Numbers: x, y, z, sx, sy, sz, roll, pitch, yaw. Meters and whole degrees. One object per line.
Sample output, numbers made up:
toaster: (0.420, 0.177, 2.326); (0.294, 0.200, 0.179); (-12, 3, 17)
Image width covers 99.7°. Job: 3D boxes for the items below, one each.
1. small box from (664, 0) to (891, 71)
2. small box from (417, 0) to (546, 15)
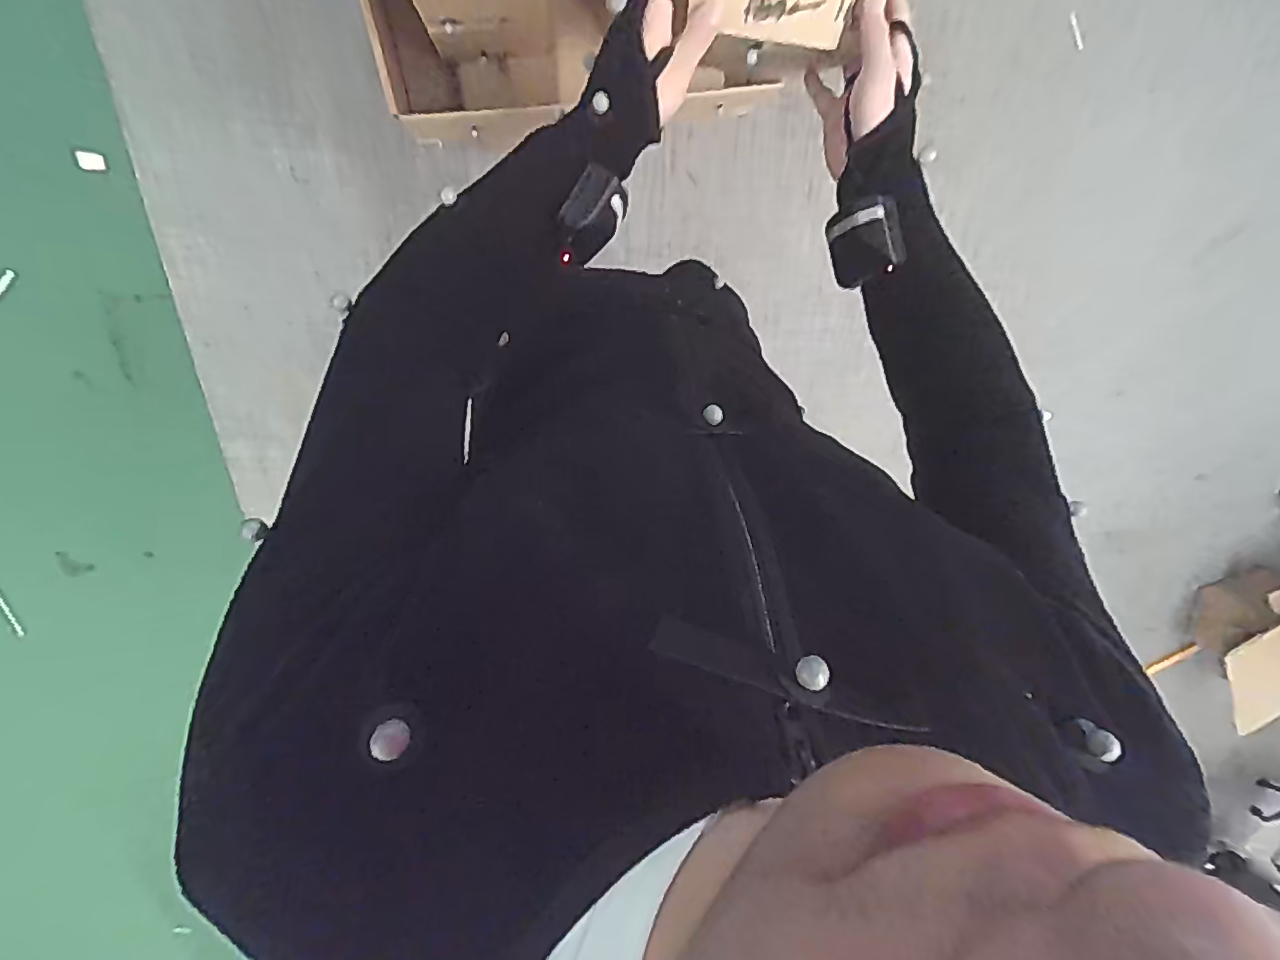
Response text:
small box: (0.119, -0.480, 0.465); (0.168, 0.176, 0.179); (1, 122, -8)
small box: (-0.197, -0.660, 0.612); (0.168, 0.176, 0.179); (-8, 115, -8)
